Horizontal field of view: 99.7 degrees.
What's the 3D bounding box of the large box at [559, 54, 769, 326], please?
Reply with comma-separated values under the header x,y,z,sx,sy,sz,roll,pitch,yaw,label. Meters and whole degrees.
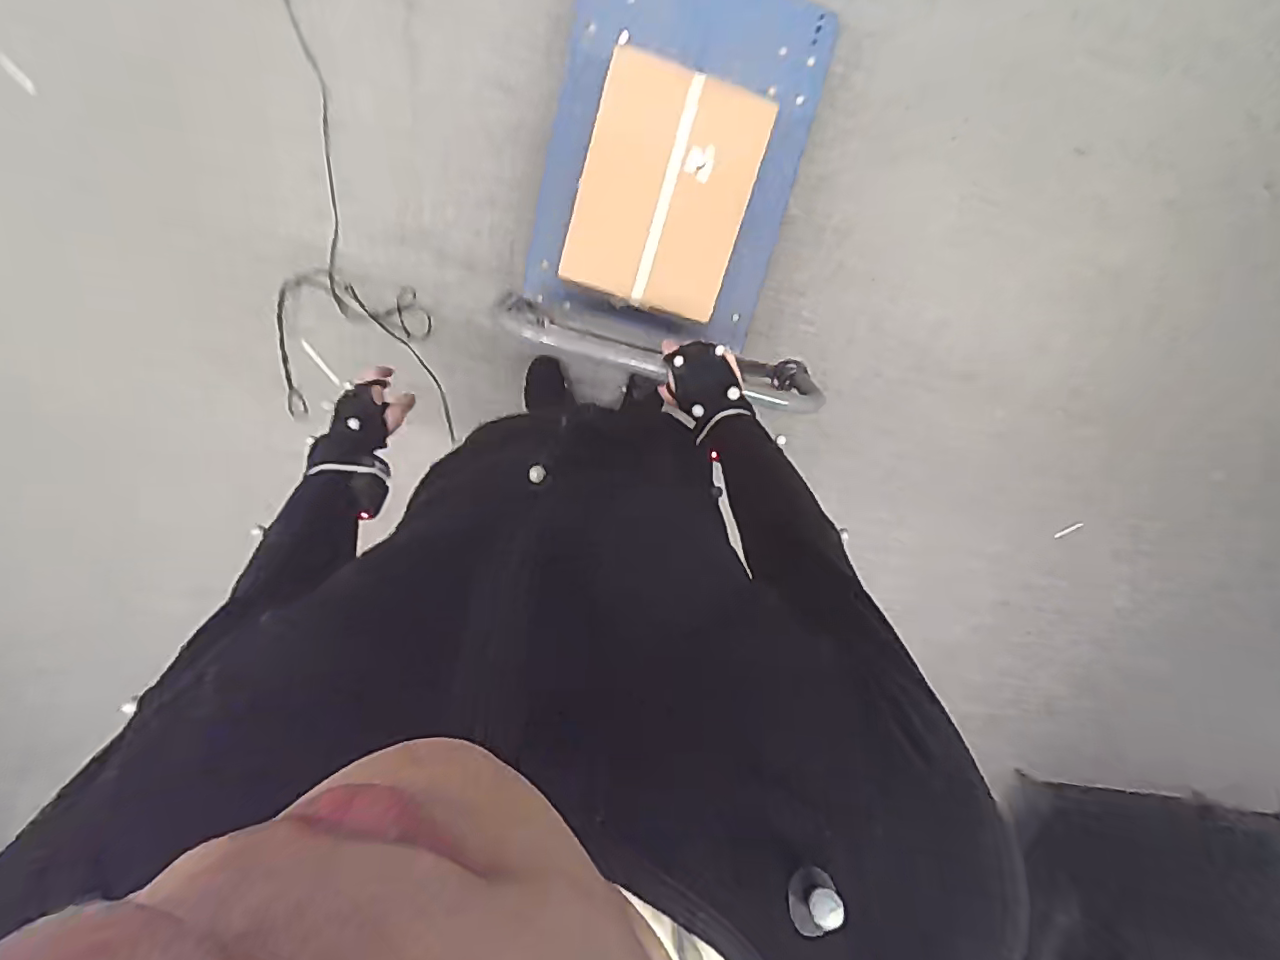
x,y,z,sx,sy,sz,roll,pitch,yaw,label
0.031,-0.571,1.165,0.320,0.320,0.408,15,104,-9,large box
